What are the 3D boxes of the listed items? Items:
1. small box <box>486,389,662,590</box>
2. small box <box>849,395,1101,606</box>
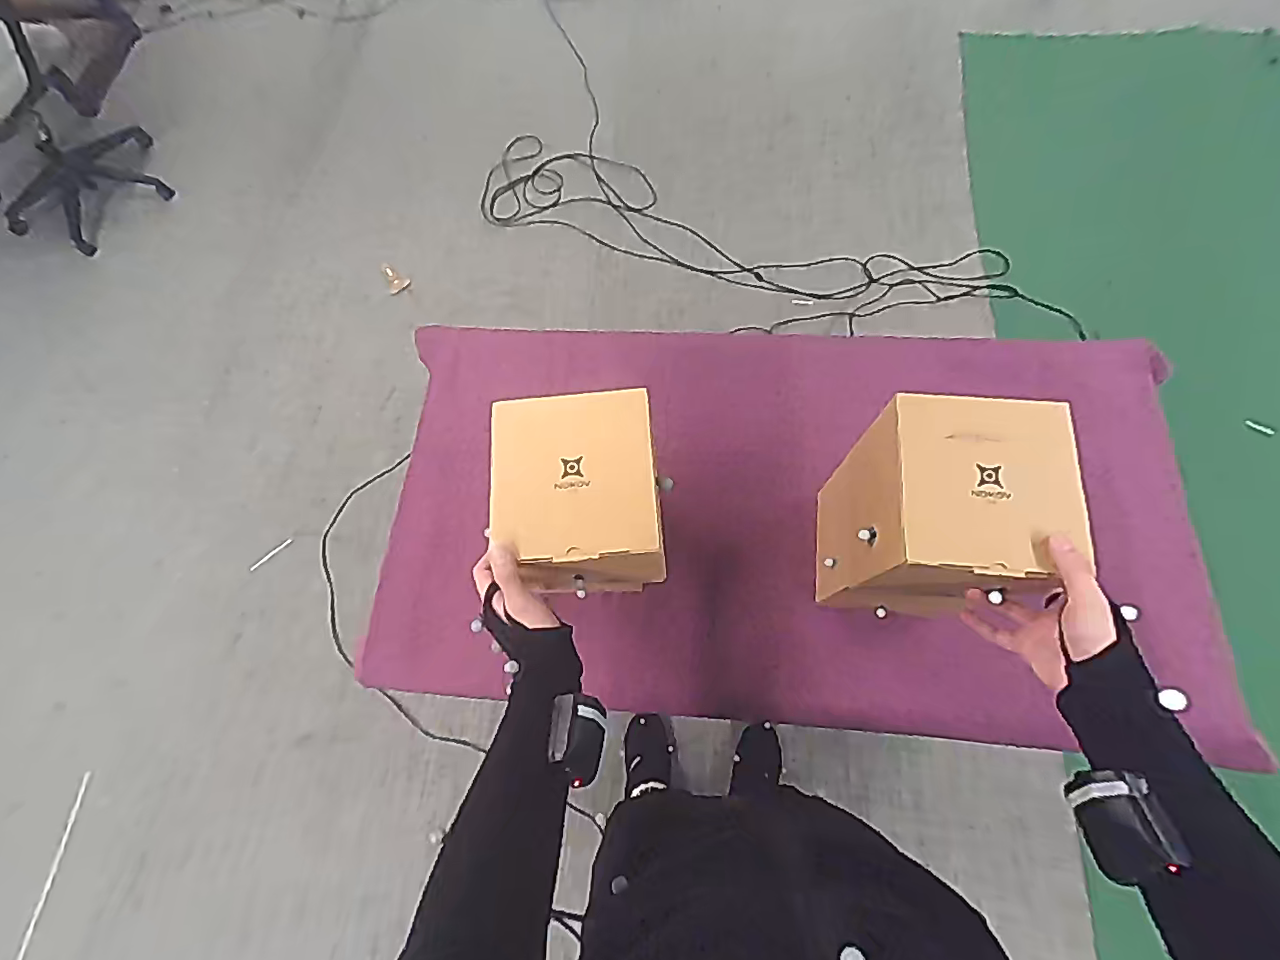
[{"bbox_3d":[-0.064,0.019,0.604,0.168,0.176,0.179,-5,71,2],"label":"small box"},{"bbox_3d":[0.330,0.032,0.572,0.168,0.176,0.179,5,70,5],"label":"small box"}]
